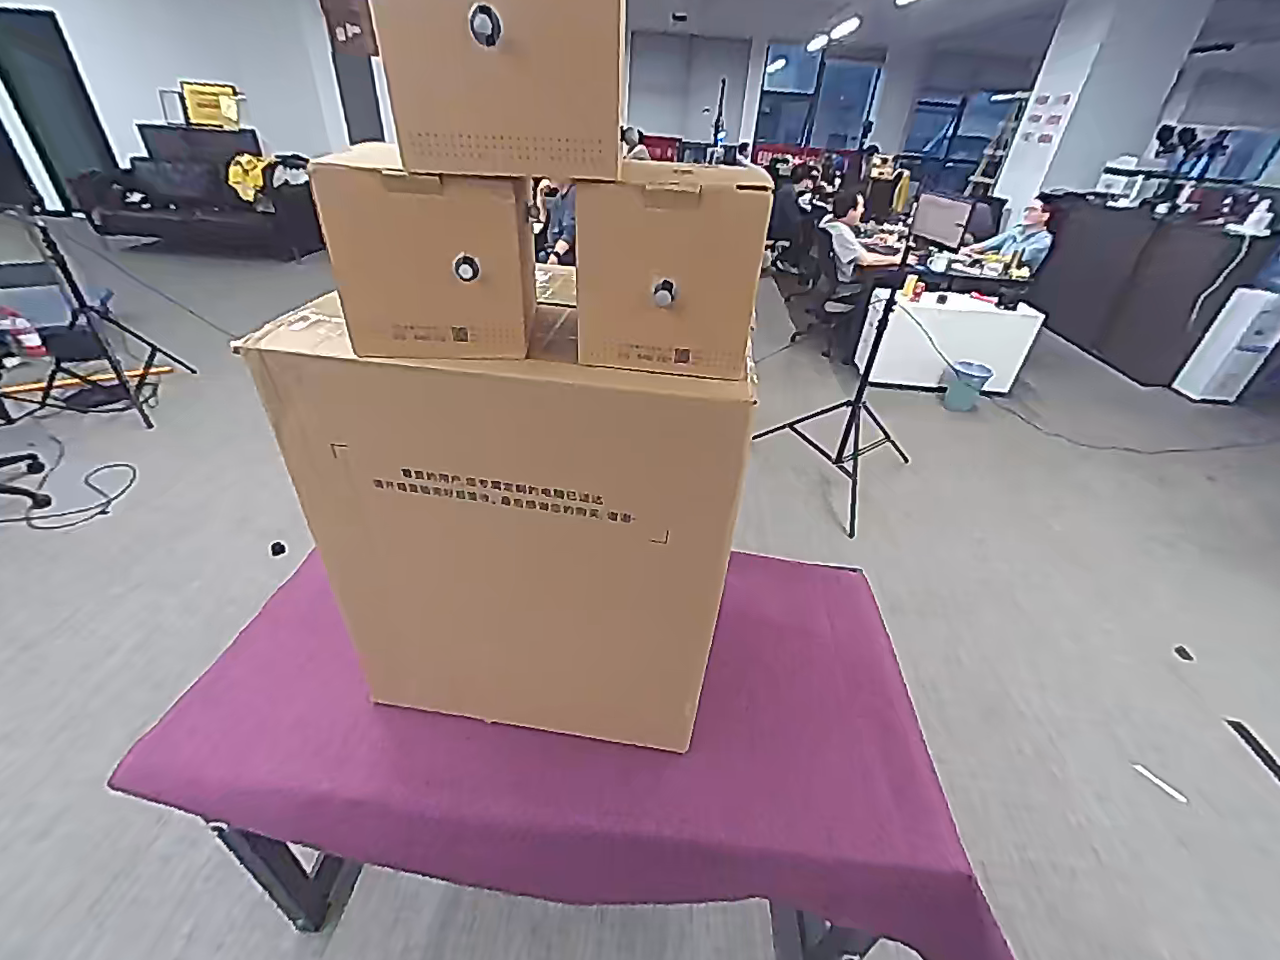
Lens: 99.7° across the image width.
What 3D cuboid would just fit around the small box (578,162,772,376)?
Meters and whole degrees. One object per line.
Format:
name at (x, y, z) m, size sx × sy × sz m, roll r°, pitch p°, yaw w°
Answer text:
small box at (0.037, -0.221, 0.560) m, size 0.168 × 0.176 × 0.179 m, roll 7°, pitch 36°, yaw 5°

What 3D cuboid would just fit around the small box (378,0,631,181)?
small box at (-0.097, -0.357, 0.457) m, size 0.179 × 0.176 × 0.168 m, roll 1°, pitch 36°, yaw -1°

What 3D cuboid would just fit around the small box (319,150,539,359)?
small box at (-0.195, -0.234, 0.562) m, size 0.168 × 0.176 × 0.179 m, roll 1°, pitch 34°, yaw -7°
